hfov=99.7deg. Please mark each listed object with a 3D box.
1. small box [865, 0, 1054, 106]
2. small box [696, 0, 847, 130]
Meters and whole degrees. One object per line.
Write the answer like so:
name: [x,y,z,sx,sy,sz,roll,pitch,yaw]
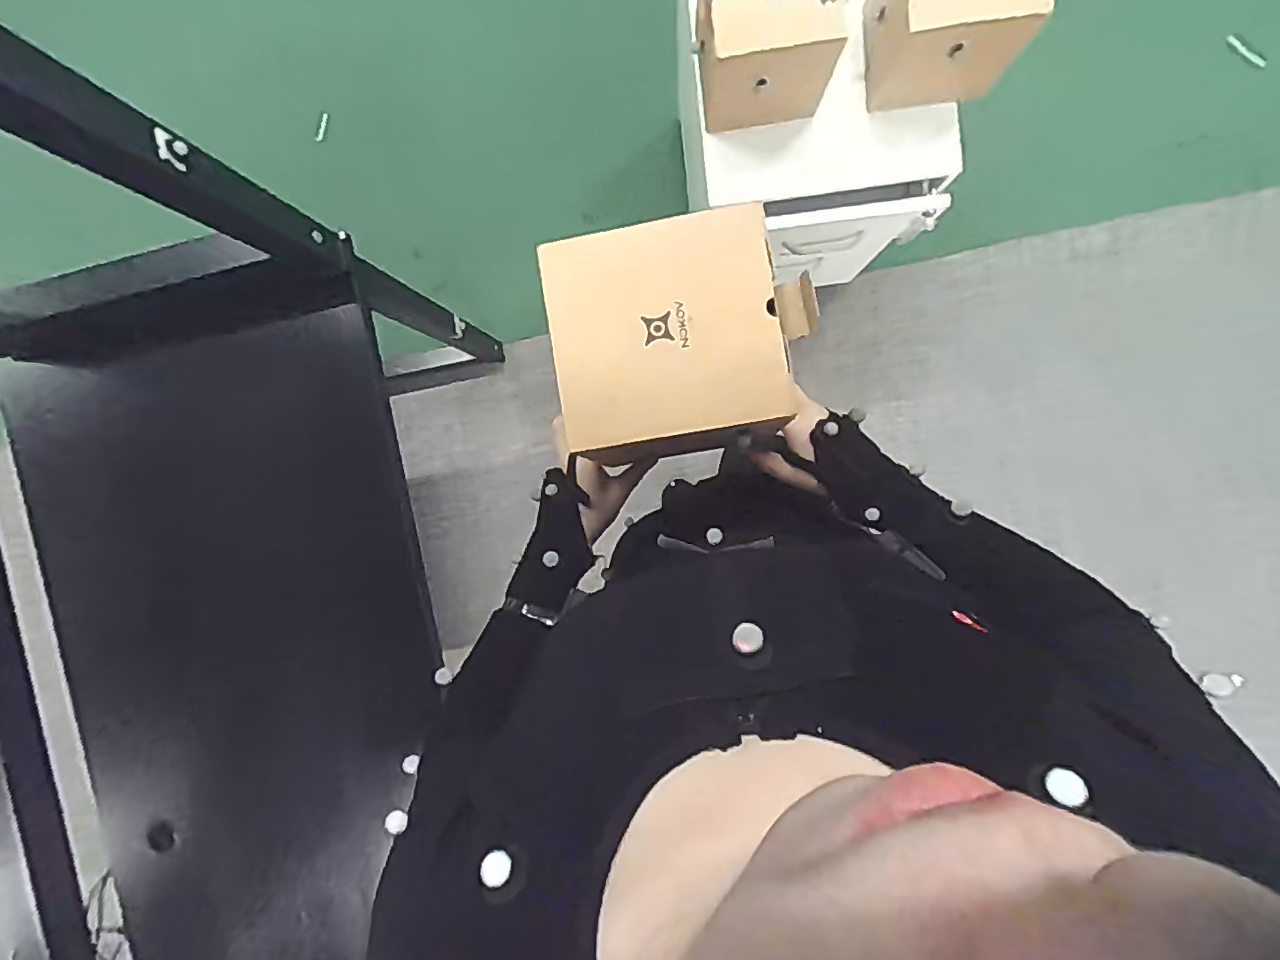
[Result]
small box: [0.422,-0.653,0.745,0.179,0.176,0.168,-4,93,5]
small box: [0.173,-0.634,0.767,0.179,0.176,0.168,-7,92,4]
